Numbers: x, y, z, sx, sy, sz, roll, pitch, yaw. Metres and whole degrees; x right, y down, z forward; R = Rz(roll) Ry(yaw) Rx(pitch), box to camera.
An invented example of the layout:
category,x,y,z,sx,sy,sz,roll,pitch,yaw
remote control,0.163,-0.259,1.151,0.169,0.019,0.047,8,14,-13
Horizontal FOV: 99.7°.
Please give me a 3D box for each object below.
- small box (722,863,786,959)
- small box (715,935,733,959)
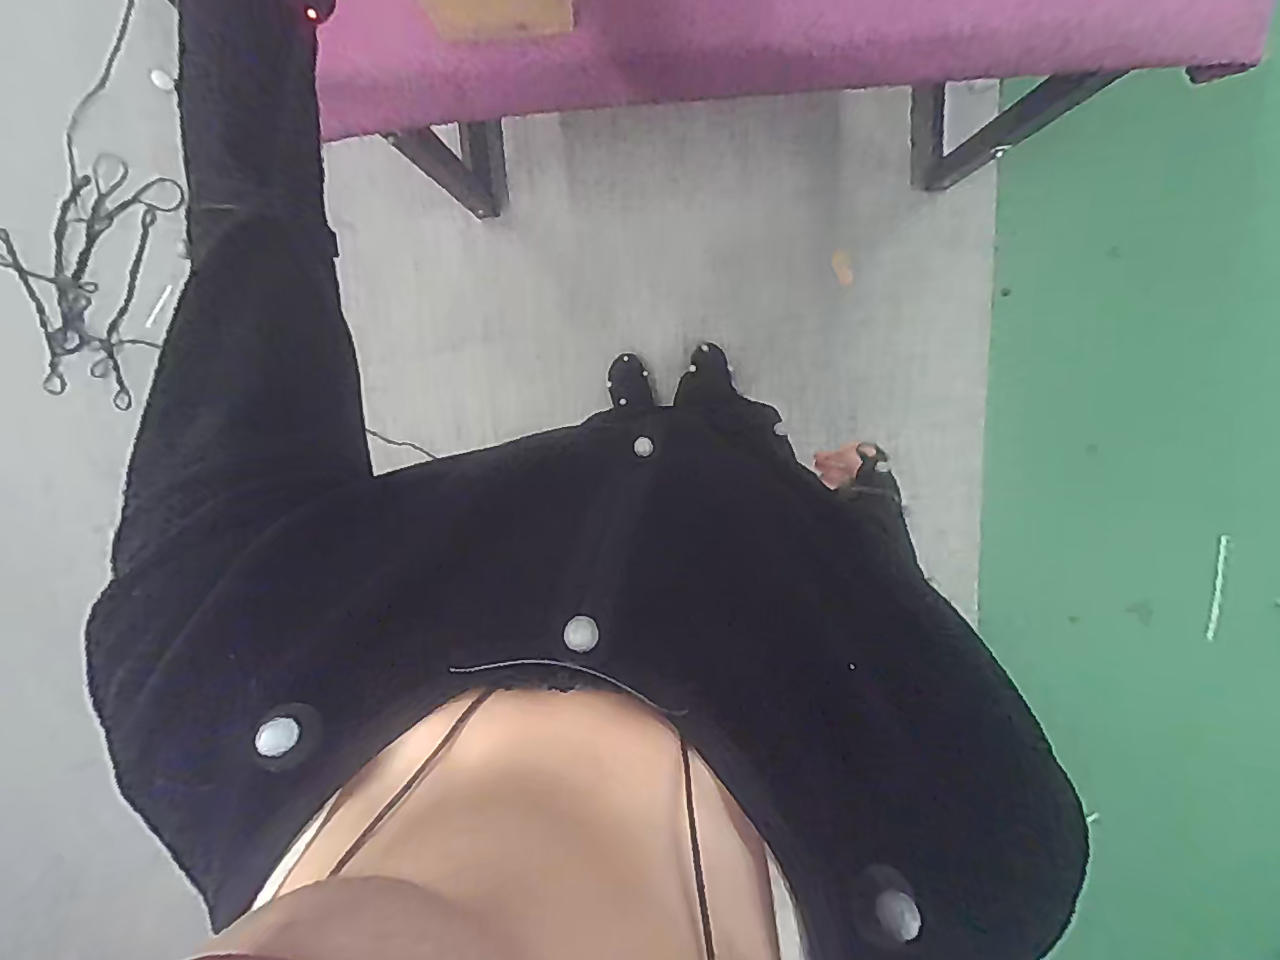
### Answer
category,x,y,z,sx,sy,sz,roll,pitch,yaw
small box,0.343,1.317,1.656,0.168,0.176,0.179,1,101,2
small box,0.334,1.589,1.709,0.179,0.176,0.168,2,101,1
